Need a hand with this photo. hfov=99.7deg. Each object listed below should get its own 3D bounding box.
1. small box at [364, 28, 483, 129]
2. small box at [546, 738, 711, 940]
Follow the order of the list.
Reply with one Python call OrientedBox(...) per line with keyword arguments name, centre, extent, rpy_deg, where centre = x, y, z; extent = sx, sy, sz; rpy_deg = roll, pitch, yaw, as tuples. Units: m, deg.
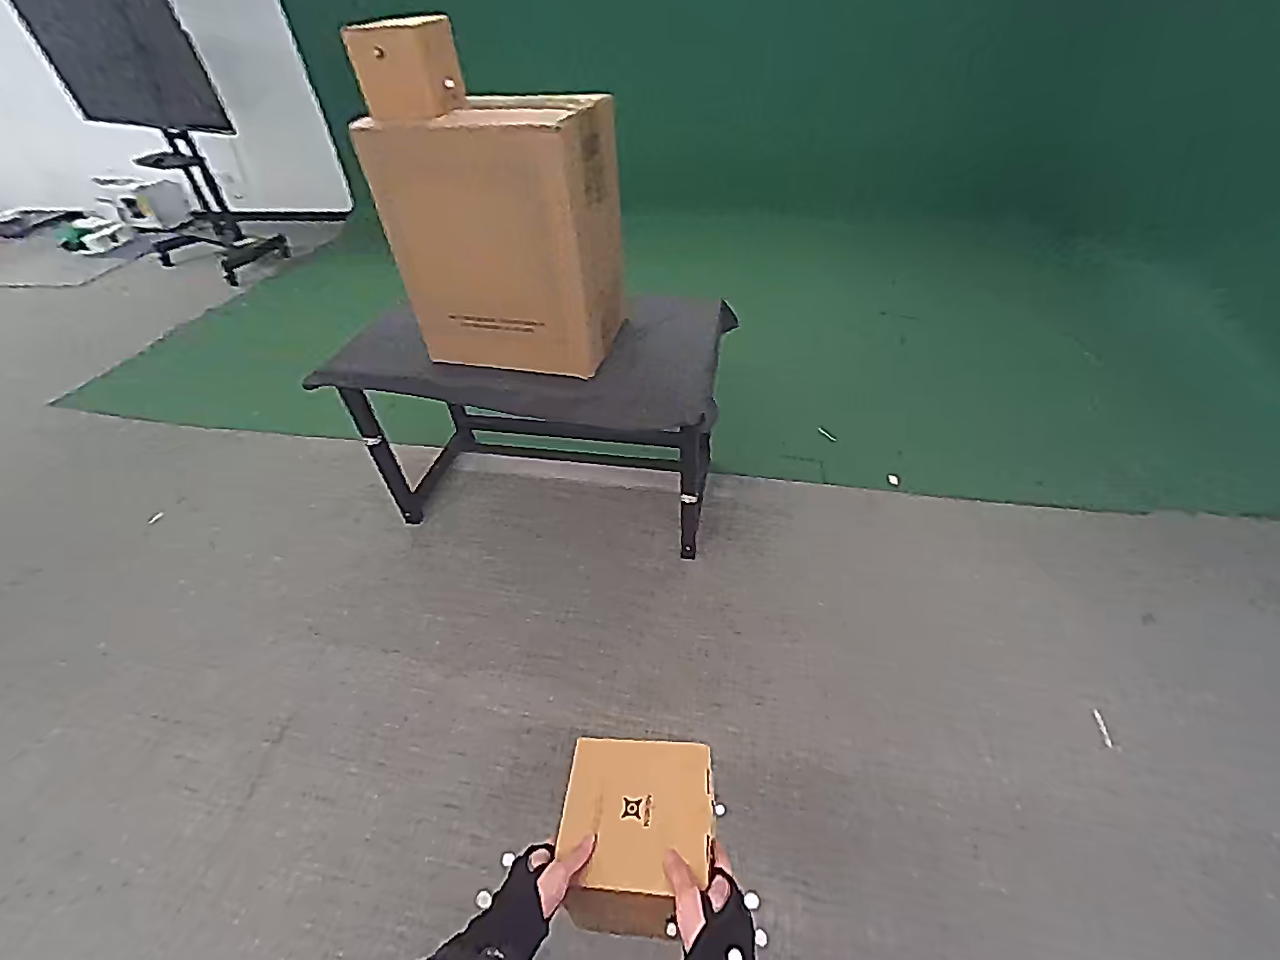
OrientedBox(name="small box", centre=(-0.507, -0.957, 1.293), extent=(0.179, 0.176, 0.168), rpy_deg=(8, 48, 15))
OrientedBox(name="small box", centre=(0.001, 0.454, 0.688), extent=(0.179, 0.176, 0.168), rpy_deg=(-3, 35, 9))
